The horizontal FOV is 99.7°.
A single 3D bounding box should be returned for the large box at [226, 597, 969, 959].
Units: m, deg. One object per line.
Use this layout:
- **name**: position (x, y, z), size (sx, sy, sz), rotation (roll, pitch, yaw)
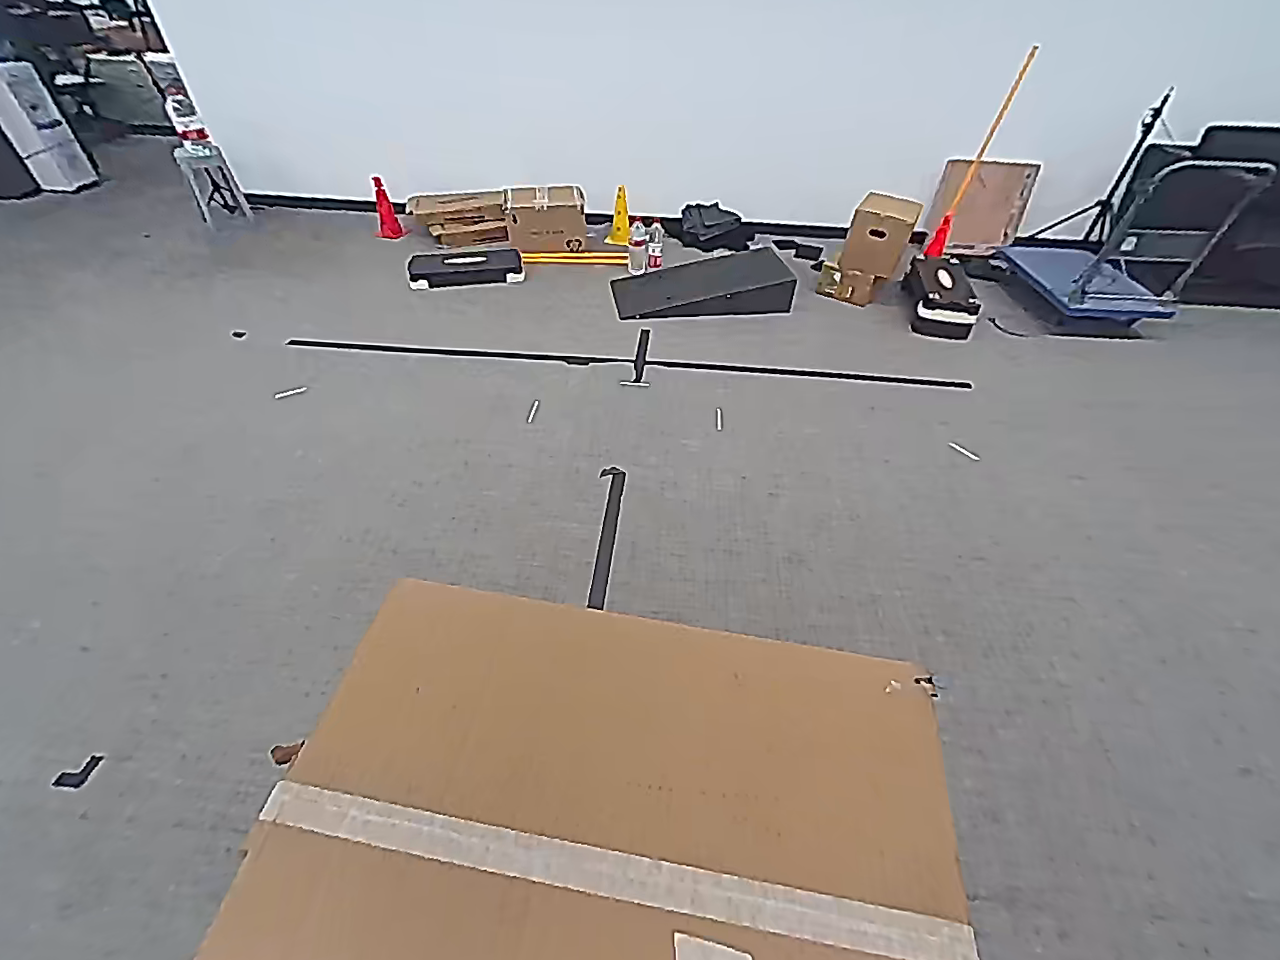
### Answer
- **large box**: position (-0.019, 0.327, 0.429), size (0.408, 0.320, 0.320), rotation (8, 51, 5)
